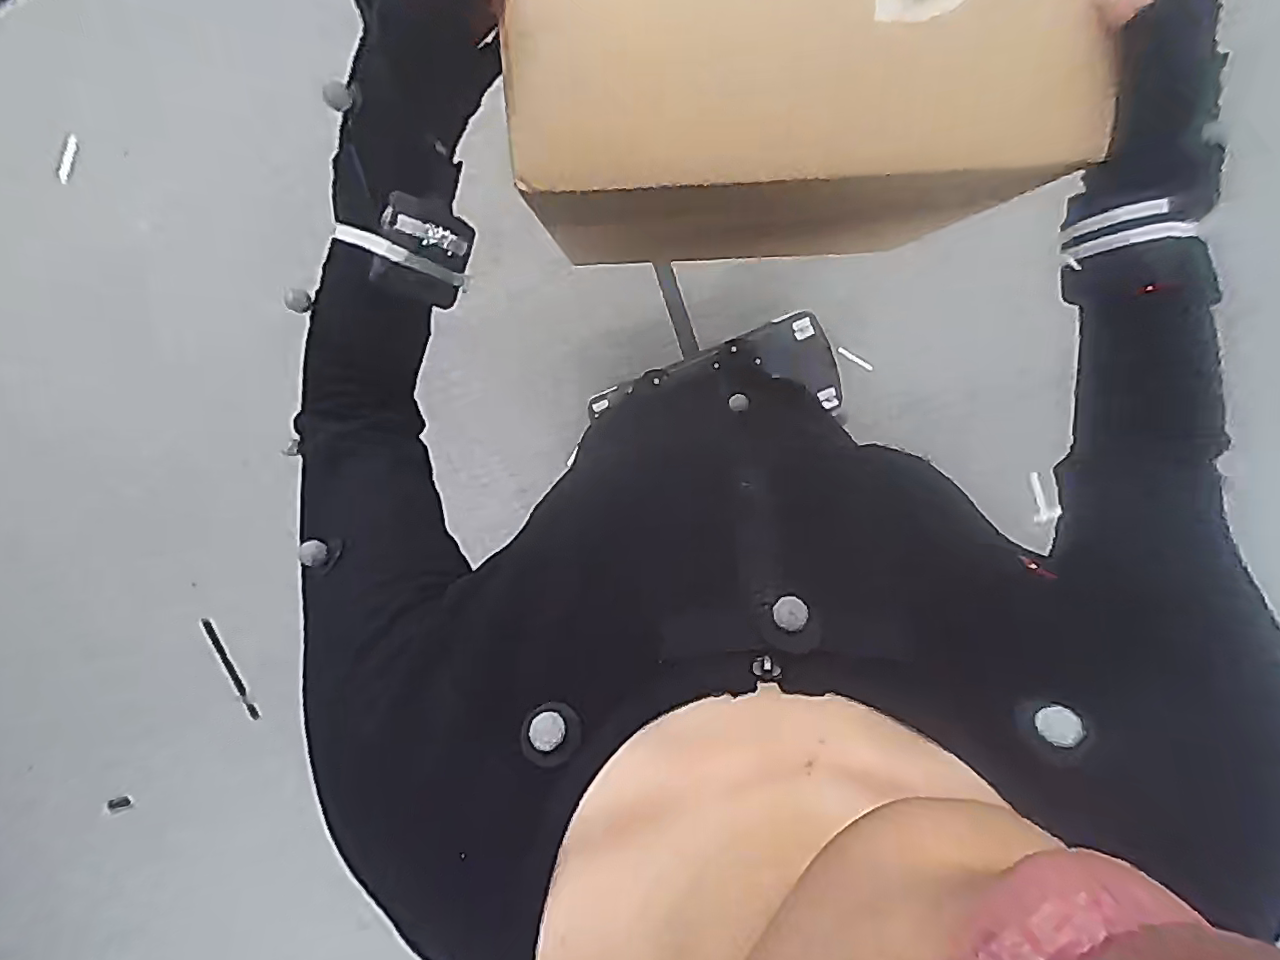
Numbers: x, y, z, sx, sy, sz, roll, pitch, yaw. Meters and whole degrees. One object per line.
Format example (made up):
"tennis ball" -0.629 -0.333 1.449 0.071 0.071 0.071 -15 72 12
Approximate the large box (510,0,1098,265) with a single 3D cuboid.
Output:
"large box" 0.104 -0.397 0.499 0.408 0.320 0.320 -3 103 0

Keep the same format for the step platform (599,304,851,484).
"step platform" 0.230 -0.238 1.534 0.684 0.204 0.286 -23 100 6
